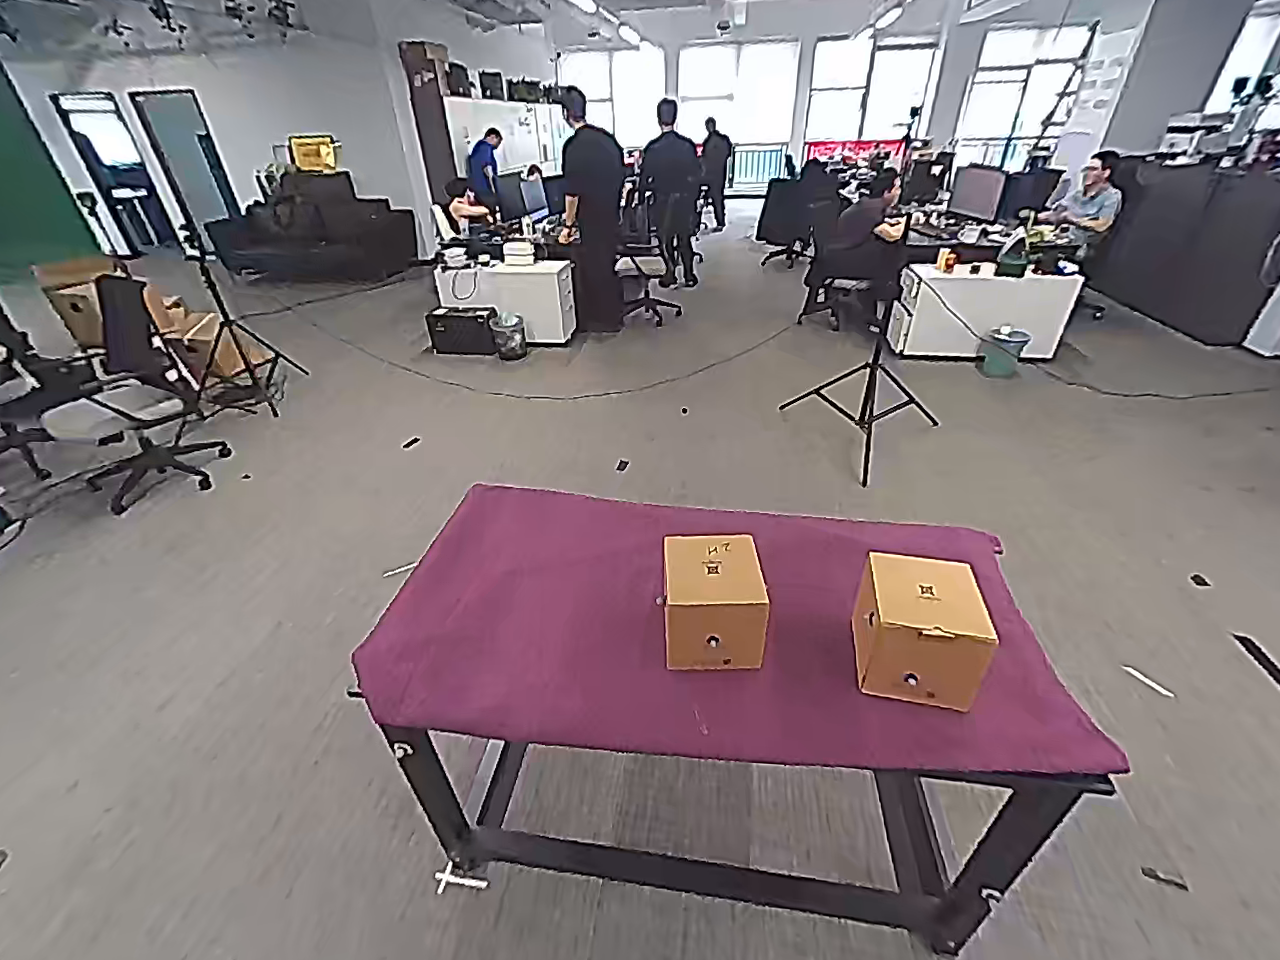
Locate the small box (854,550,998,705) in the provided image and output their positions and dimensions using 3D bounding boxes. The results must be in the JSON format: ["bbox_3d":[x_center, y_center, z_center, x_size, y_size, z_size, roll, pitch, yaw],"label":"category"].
[{"bbox_3d":[0.469,0.246,0.920,0.168,0.176,0.179,6,33,12],"label":"small box"}]

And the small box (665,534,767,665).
[{"bbox_3d":[0.130,0.218,0.983,0.168,0.176,0.179,-1,33,1],"label":"small box"}]
